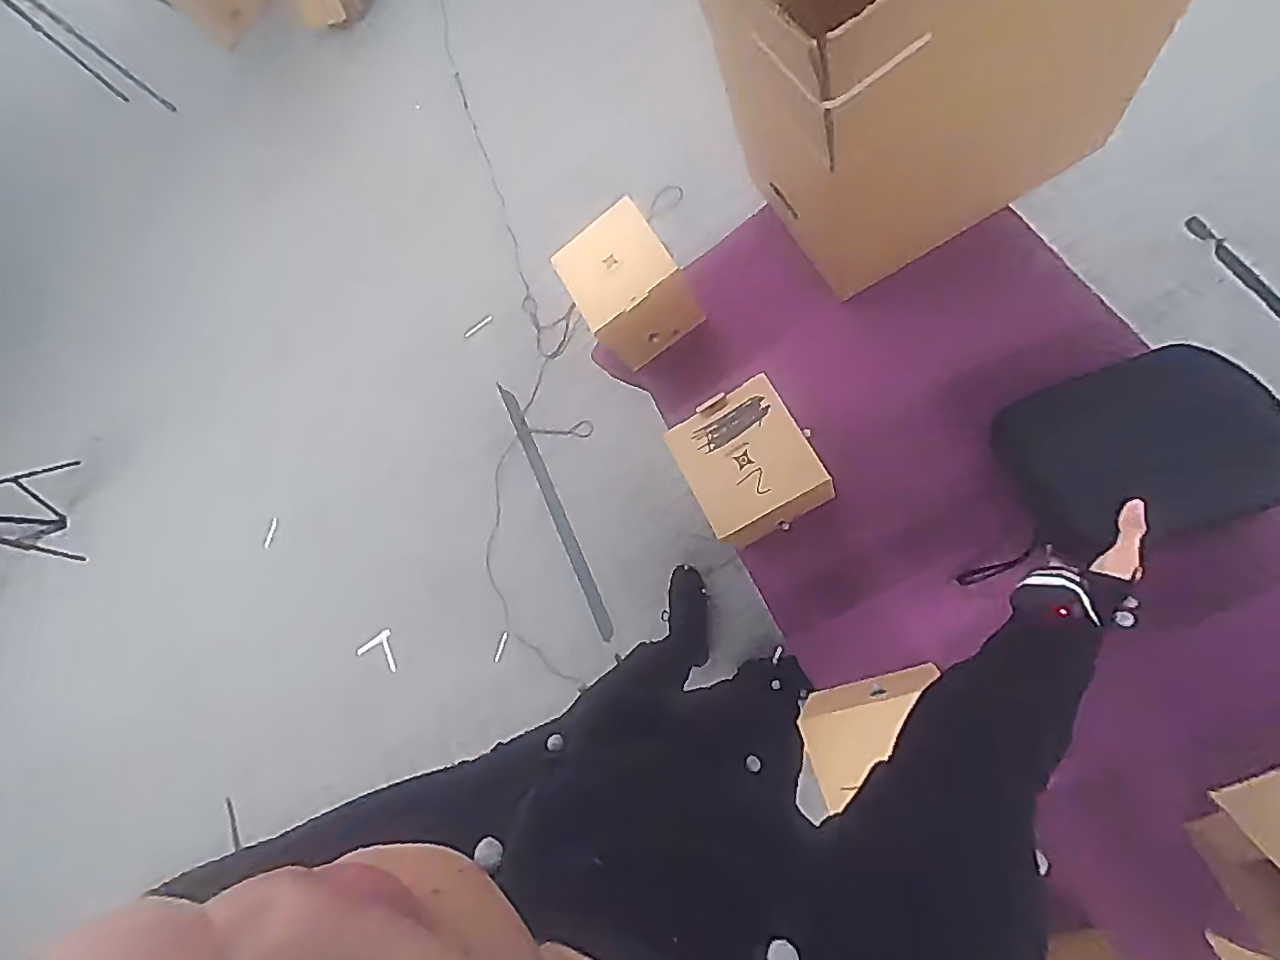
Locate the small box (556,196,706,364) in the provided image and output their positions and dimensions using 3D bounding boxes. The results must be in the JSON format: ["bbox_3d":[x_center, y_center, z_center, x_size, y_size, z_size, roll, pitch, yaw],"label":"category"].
[{"bbox_3d":[-0.010,-0.332,0.931,0.168,0.176,0.179,-34,71,13],"label":"small box"}]
